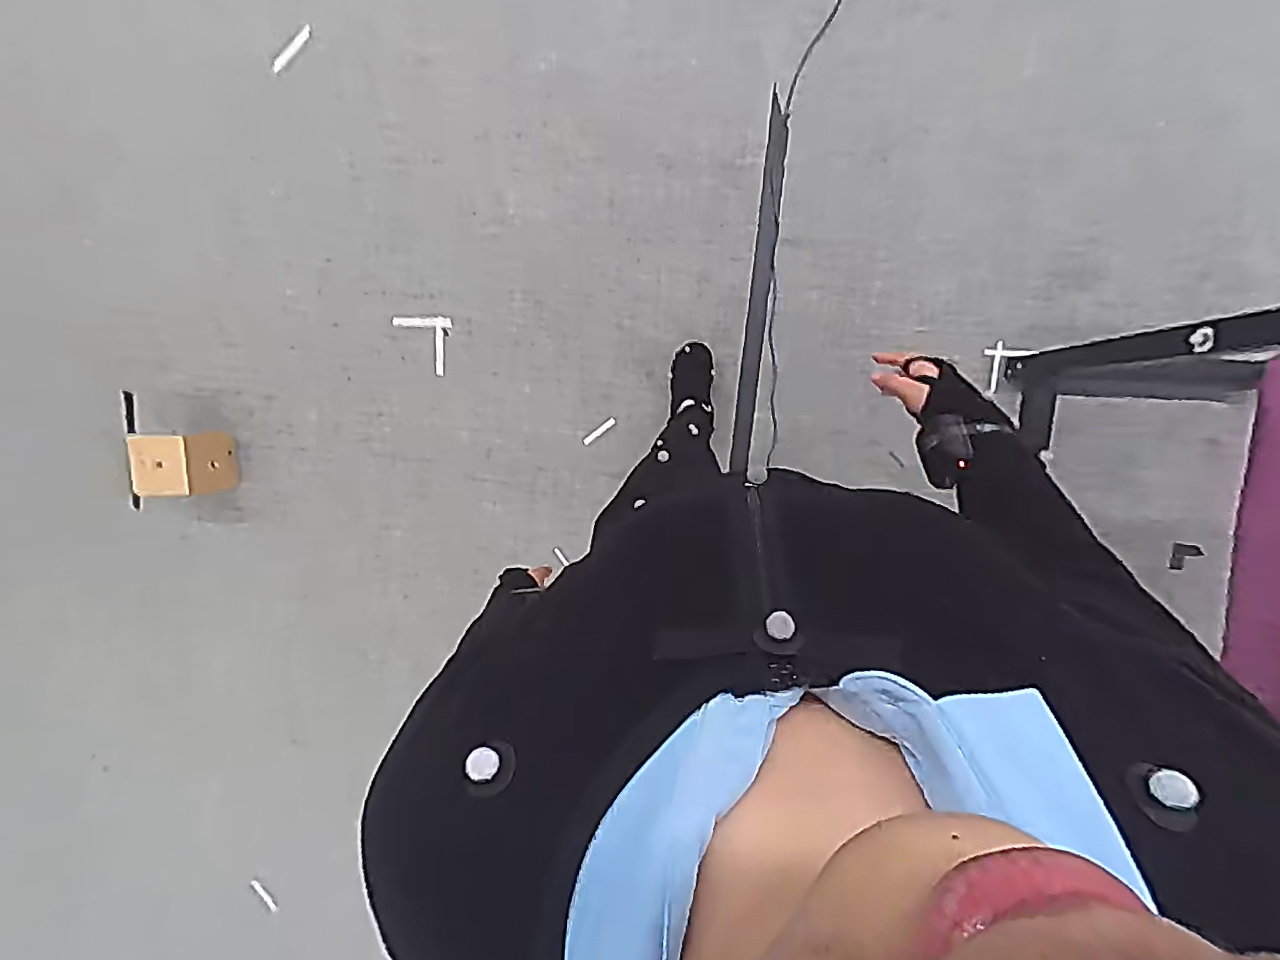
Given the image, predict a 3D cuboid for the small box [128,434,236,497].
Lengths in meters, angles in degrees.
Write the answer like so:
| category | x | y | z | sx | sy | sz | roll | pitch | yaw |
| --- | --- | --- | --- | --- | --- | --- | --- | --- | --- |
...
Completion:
| category | x | y | z | sx | sy | sz | roll | pitch | yaw |
| --- | --- | --- | --- | --- | --- | --- | --- | --- | --- |
| small box | -1.301 | -0.047 | 1.553 | 0.179 | 0.176 | 0.168 | 1 | 97 | 7 |
